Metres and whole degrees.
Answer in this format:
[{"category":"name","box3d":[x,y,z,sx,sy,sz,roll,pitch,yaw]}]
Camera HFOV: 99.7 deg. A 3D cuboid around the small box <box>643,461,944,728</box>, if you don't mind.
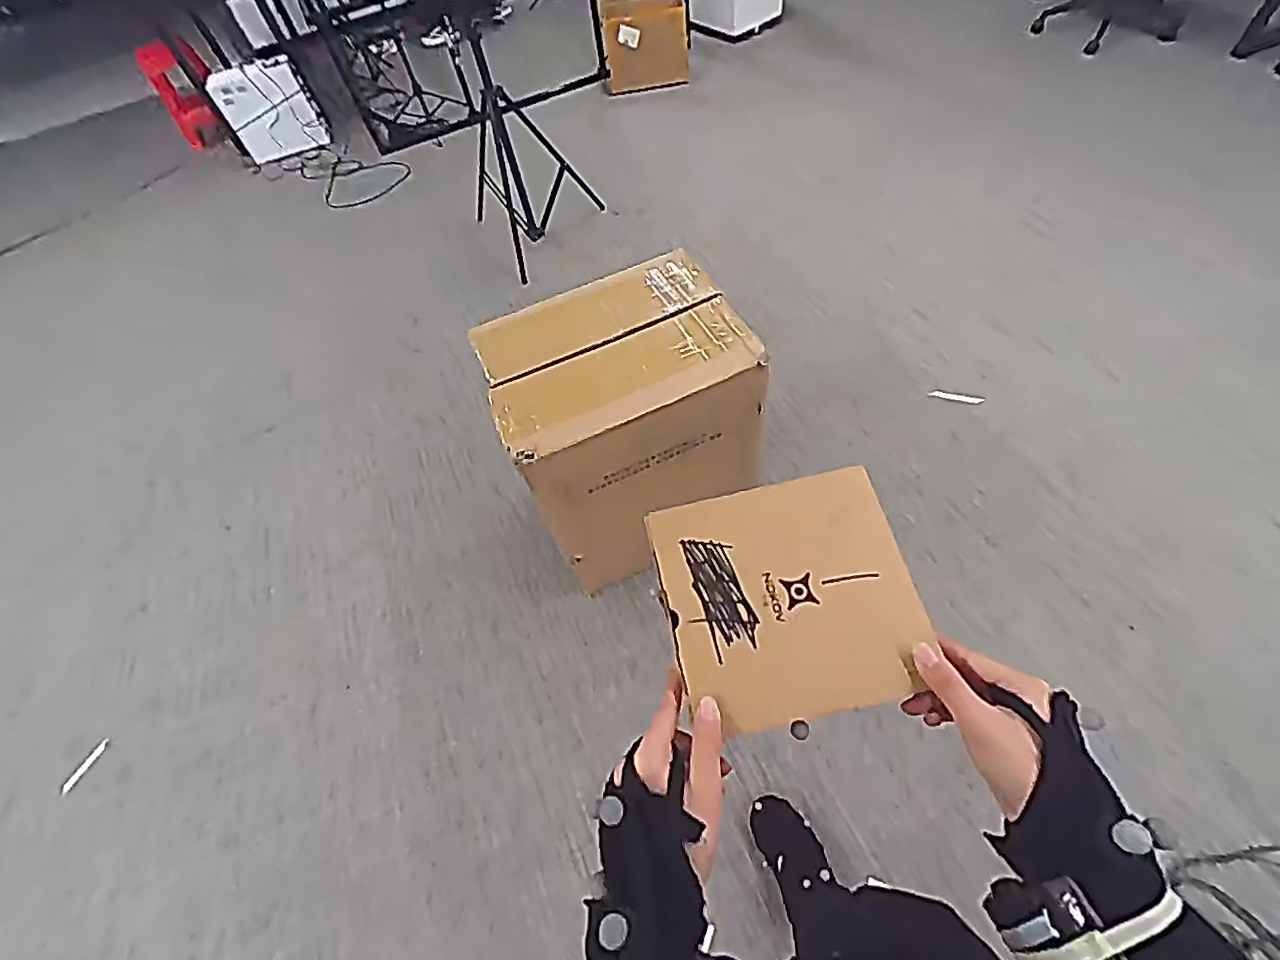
[{"category":"small box","box3d":[0.109,0.107,0.460,0.179,0.176,0.168,-13,66,0]}]
